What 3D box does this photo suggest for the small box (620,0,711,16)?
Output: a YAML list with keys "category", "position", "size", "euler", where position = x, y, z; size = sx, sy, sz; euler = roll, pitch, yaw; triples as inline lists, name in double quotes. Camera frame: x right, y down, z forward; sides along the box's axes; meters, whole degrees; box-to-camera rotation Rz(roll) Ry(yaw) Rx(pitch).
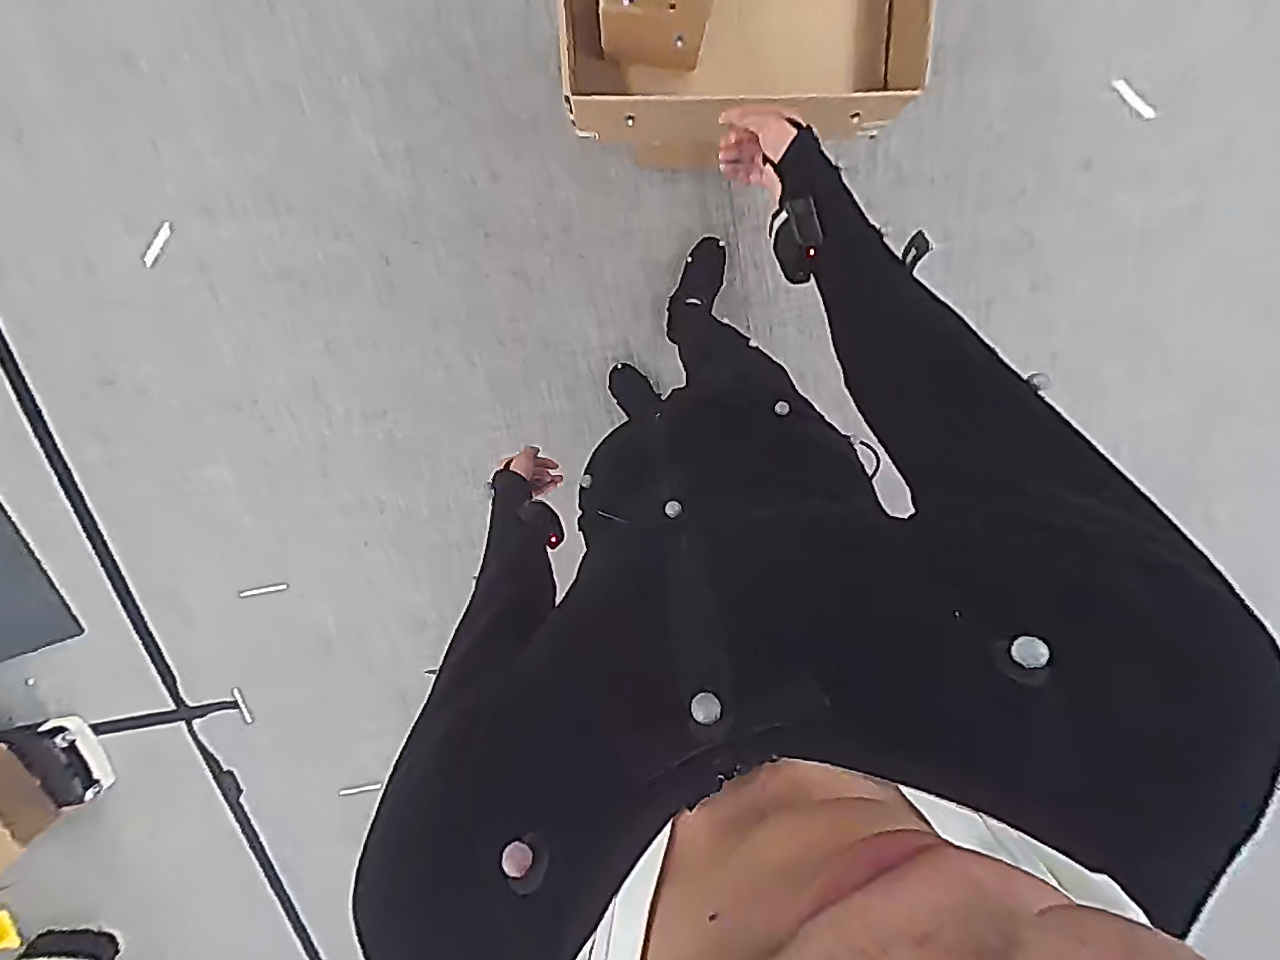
- category: "small box"
  position: [0.036, -0.795, 0.749]
  size: [0.168, 0.176, 0.179]
  euler: [5, 103, -3]
